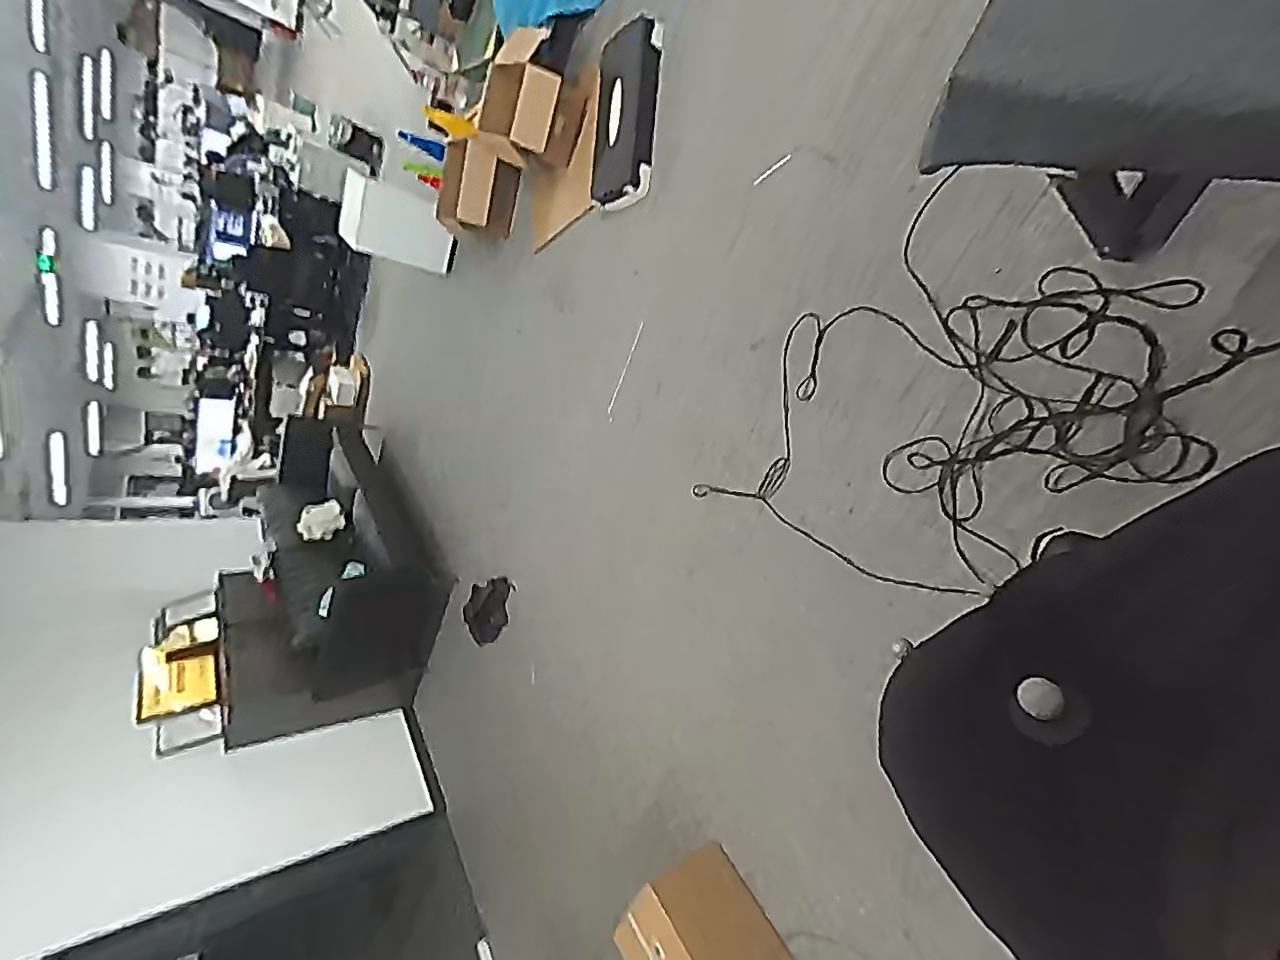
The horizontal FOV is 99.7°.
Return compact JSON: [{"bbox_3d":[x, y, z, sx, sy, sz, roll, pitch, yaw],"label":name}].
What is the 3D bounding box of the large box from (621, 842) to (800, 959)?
[{"bbox_3d":[0.212,1.424,1.631,0.408,0.320,0.320,45,120,42],"label":"large box"}]
